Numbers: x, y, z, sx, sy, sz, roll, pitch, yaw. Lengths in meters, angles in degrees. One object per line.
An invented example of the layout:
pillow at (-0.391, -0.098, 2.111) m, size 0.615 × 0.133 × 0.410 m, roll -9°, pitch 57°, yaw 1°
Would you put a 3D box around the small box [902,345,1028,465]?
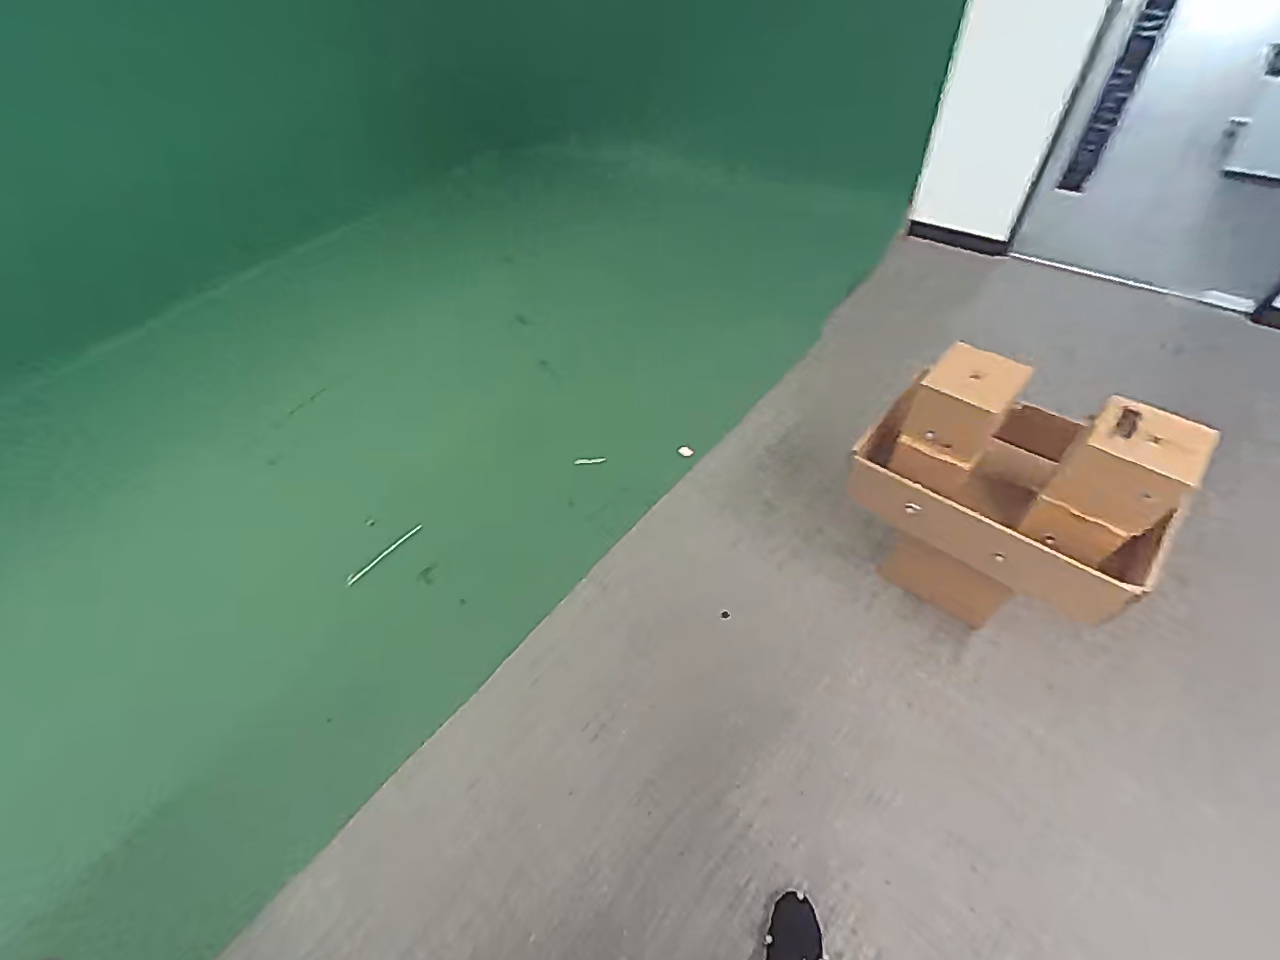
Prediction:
small box at (0.728, -0.169, 1.229) m, size 0.168 × 0.176 × 0.179 m, roll 35°, pitch 64°, yaw 31°
